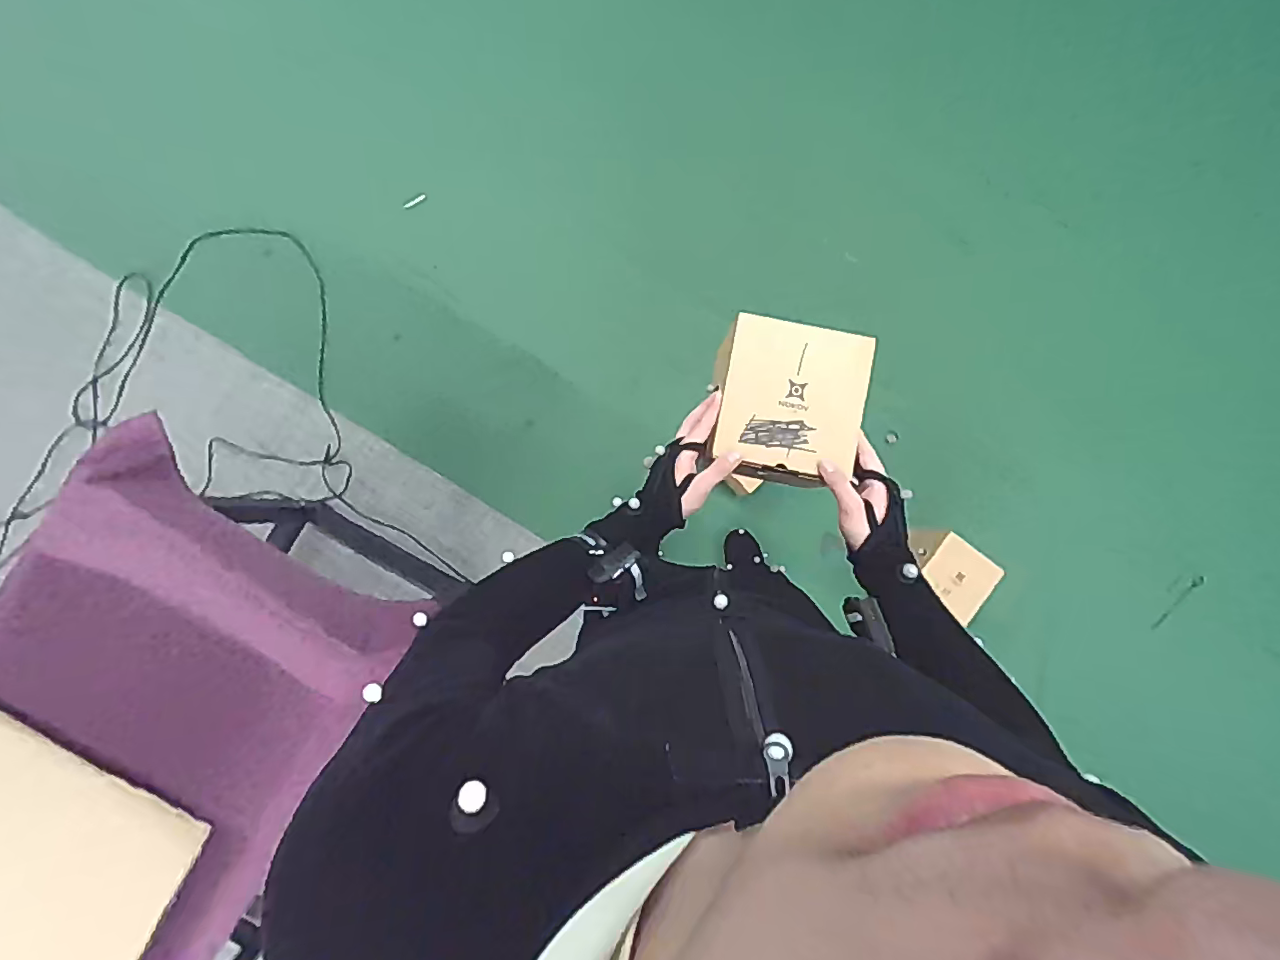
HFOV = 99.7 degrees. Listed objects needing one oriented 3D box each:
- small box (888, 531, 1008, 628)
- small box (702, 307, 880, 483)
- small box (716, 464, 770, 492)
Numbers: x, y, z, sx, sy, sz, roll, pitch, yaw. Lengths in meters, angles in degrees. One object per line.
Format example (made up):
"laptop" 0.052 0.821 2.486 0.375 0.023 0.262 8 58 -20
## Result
"small box" 0.773 0.243 1.380 0.168 0.176 0.179 39 88 2
"small box" 0.180 -0.096 0.696 0.168 0.176 0.179 11 87 0
"small box" 0.318 -0.082 1.565 0.179 0.176 0.168 -43 88 -1
